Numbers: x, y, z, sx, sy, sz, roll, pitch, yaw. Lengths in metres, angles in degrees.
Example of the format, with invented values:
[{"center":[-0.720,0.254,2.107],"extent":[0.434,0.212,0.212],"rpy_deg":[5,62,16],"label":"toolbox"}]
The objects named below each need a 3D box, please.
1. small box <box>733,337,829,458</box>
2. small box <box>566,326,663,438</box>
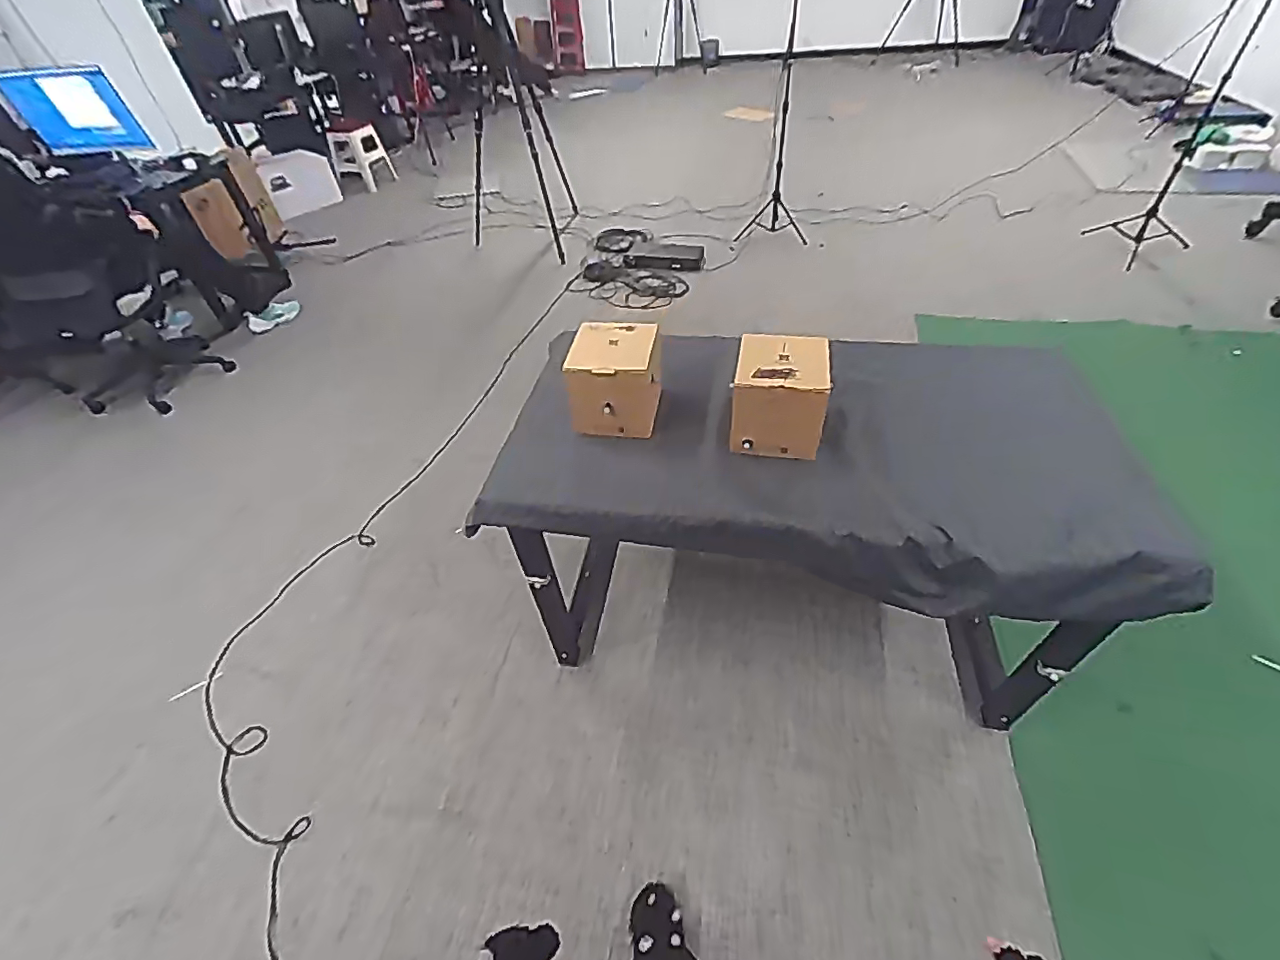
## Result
[{"center":[0.275,-0.162,1.063],"extent":[0.168,0.176,0.179],"rpy_deg":[6,46,12],"label":"small box"},{"center":[-0.044,-0.206,1.143],"extent":[0.168,0.176,0.179],"rpy_deg":[4,47,10],"label":"small box"}]
